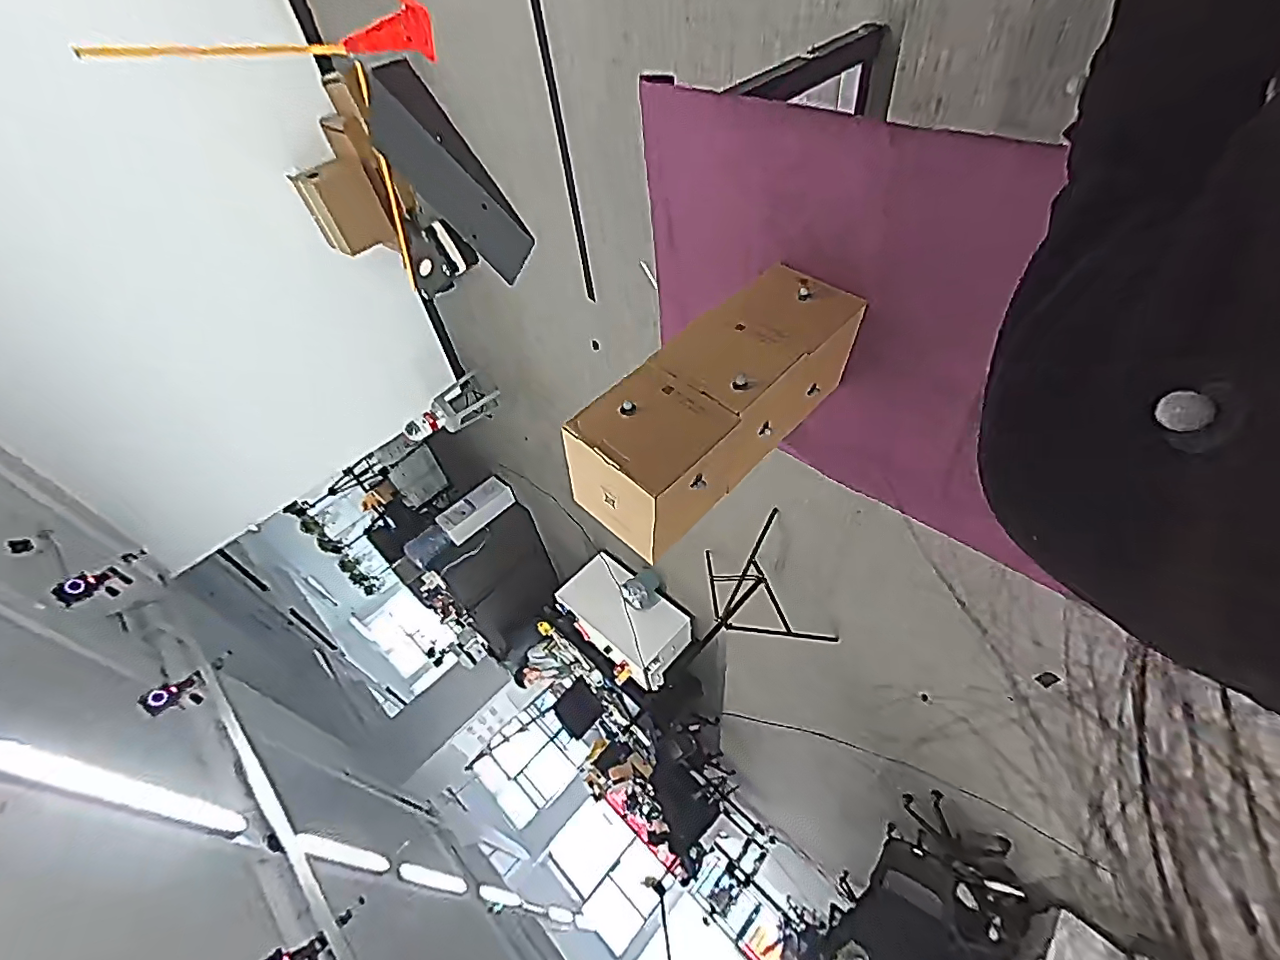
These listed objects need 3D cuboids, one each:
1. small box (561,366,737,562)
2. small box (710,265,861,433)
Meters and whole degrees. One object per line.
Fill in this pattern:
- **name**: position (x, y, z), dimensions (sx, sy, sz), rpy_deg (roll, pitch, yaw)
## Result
- **small box**: position (0.016, -0.026, 0.753), dimensions (0.168, 0.176, 0.179), rpy_deg (38, 154, 24)
- **small box**: position (0.237, -0.219, 0.897), dimensions (0.168, 0.176, 0.179), rpy_deg (35, 152, 25)
